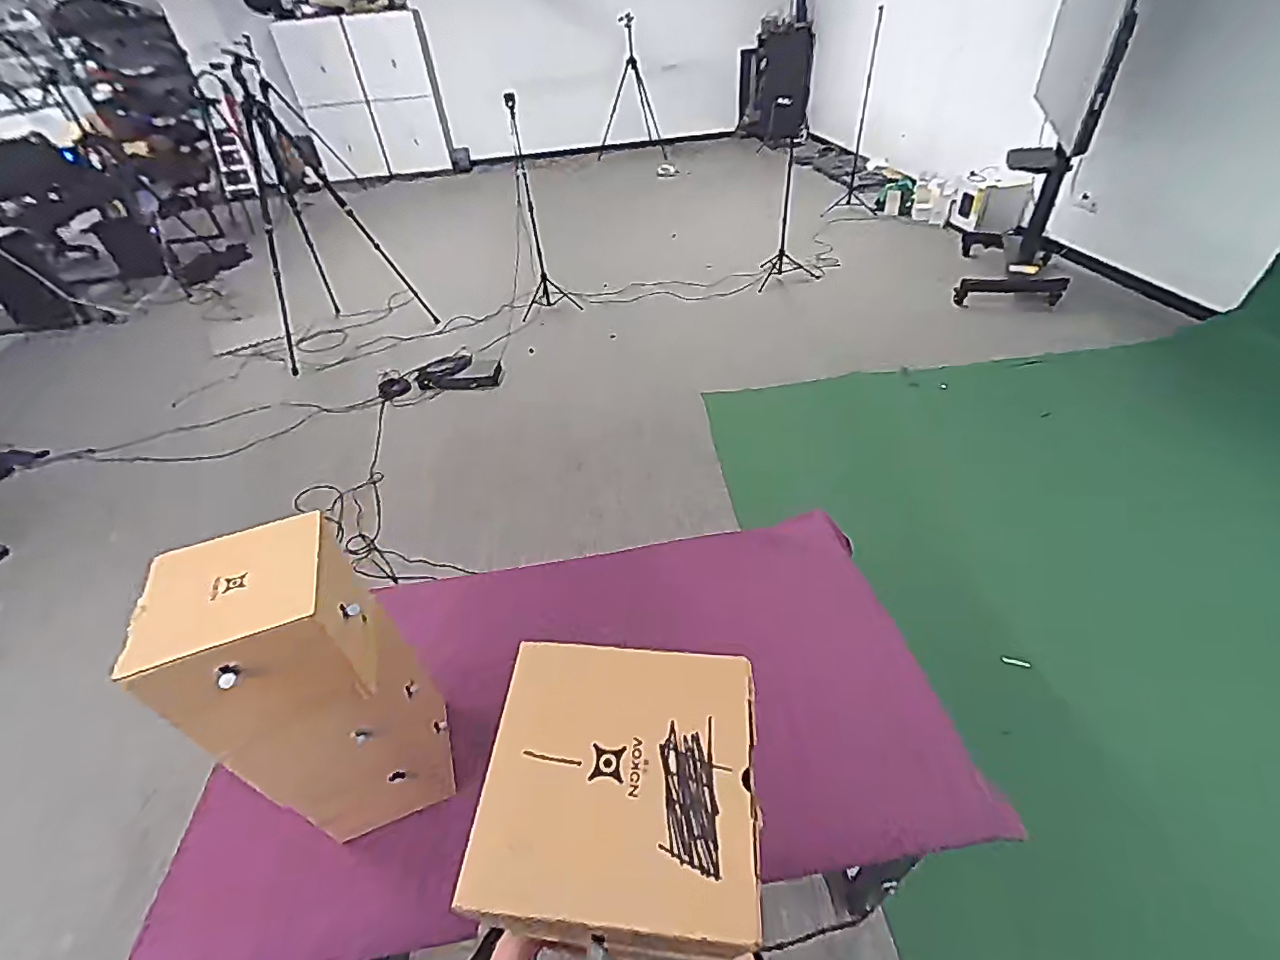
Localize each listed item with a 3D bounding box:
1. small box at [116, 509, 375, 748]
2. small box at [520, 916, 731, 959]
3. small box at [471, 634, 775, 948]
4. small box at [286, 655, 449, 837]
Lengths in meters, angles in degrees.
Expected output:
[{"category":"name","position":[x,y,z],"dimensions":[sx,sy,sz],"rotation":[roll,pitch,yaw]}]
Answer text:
[{"category":"small box","position":[-0.415,0.166,0.612],"dimensions":[0.179,0.176,0.168],"rotation":[-17,43,-15]},{"category":"small box","position":[-0.001,0.354,0.534],"dimensions":[0.179,0.176,0.168],"rotation":[4,47,6]},{"category":"small box","position":[-0.001,0.240,0.416],"dimensions":[0.179,0.176,0.168],"rotation":[4,47,5]},{"category":"small box","position":[-0.404,0.407,0.831],"dimensions":[0.179,0.176,0.168],"rotation":[-16,42,-14]}]
